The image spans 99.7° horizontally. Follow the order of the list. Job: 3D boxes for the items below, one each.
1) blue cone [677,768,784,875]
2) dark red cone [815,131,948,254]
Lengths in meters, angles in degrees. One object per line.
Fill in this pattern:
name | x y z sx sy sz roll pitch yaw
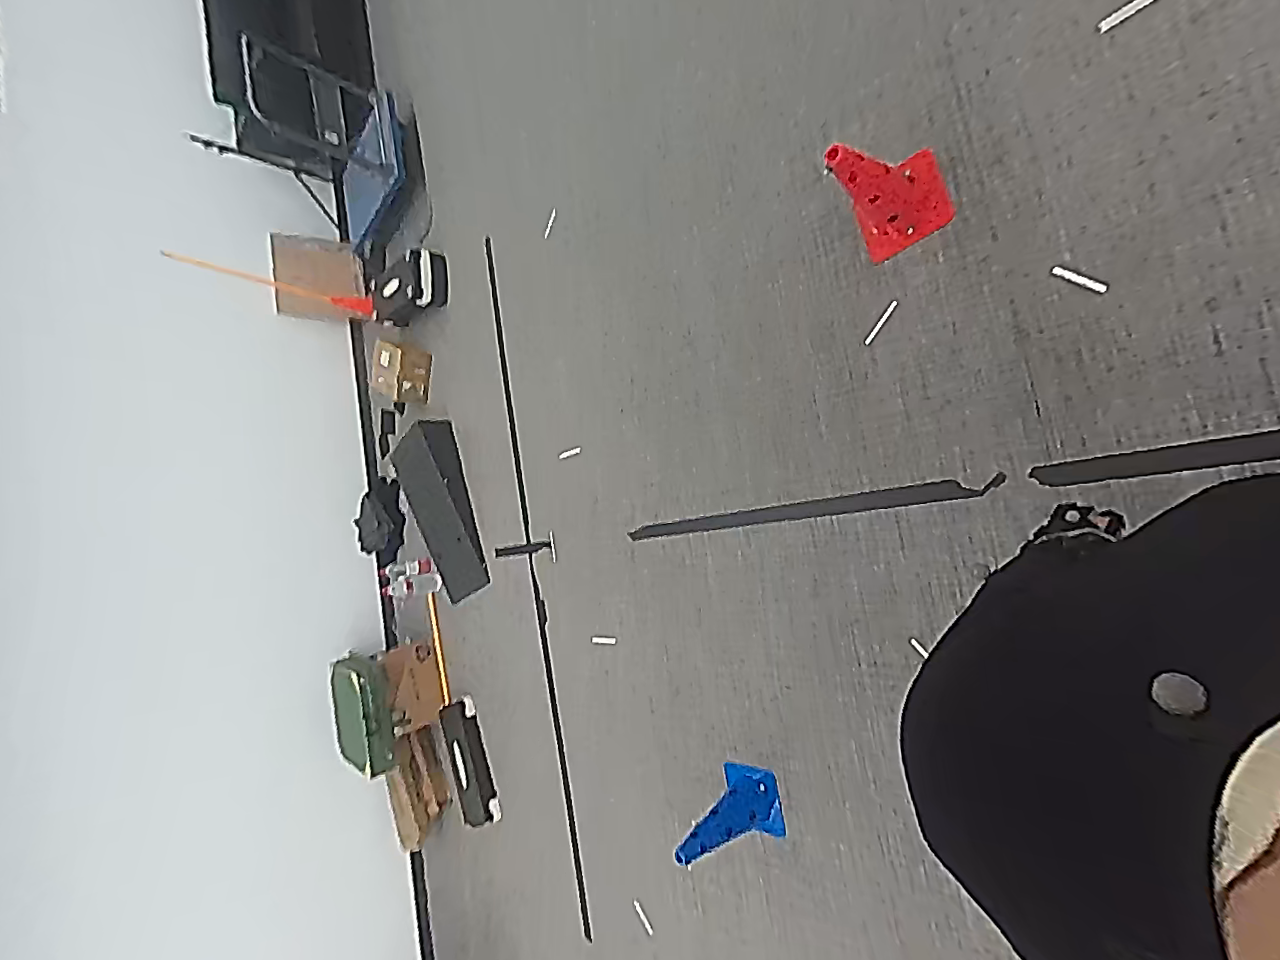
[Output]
blue cone | 0.243 1.031 1.595 0.193 0.380 0.192 -13 84 46
dark red cone | 0.488 -0.661 1.174 0.202 0.394 0.201 -25 76 44
